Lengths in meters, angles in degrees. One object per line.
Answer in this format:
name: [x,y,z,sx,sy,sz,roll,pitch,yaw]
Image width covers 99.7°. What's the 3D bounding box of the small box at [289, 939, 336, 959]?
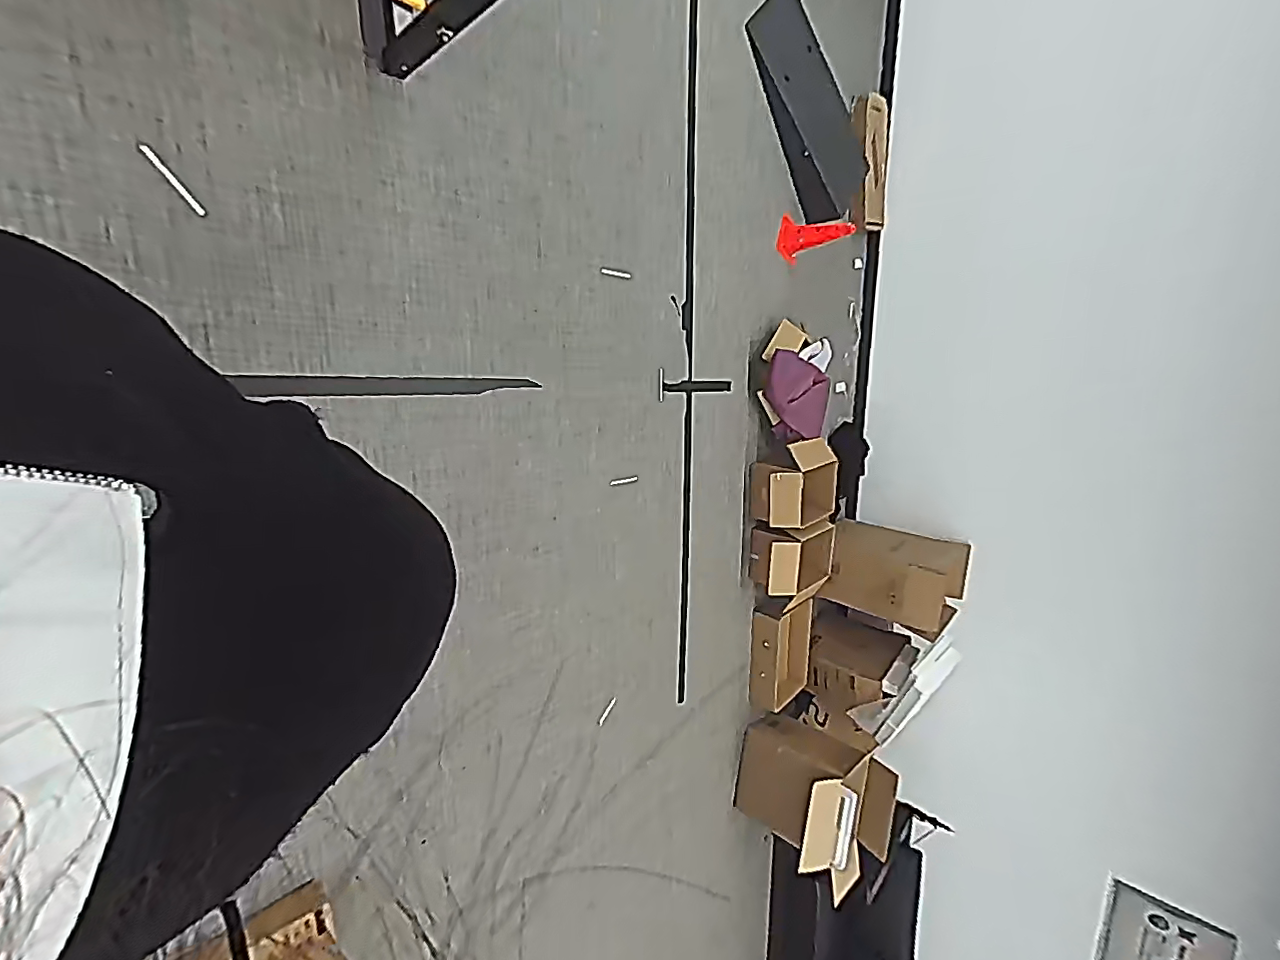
small box: [-0.843,1.329,1.359,0.168,0.176,0.179,-12,107,-45]
